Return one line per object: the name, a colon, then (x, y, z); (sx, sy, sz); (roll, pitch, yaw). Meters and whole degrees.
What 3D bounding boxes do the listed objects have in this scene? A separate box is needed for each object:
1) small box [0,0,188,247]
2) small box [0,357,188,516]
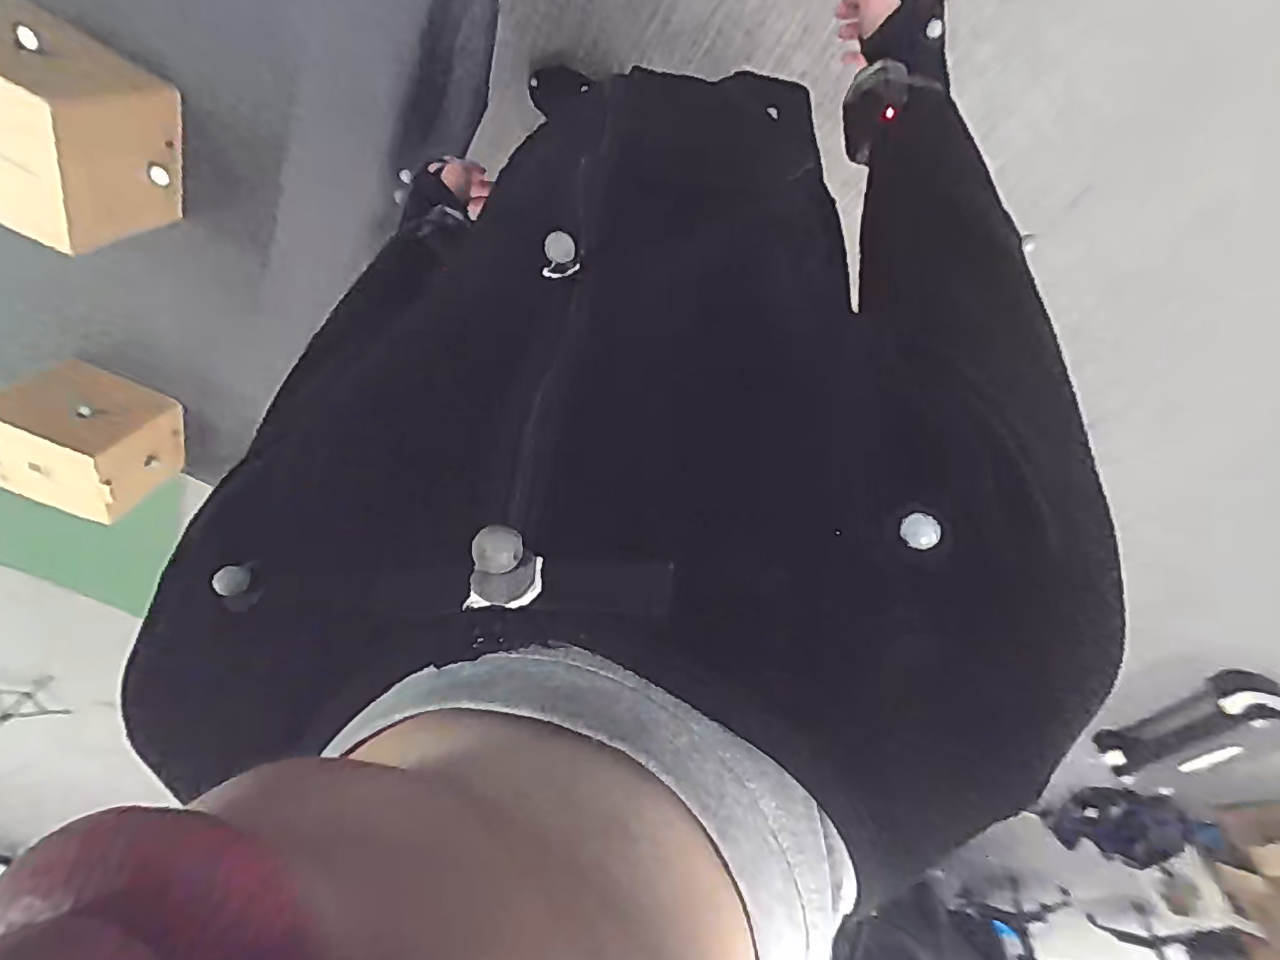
small box: (-0.654, -0.396, 0.597); (0.179, 0.176, 0.168); (26, 128, -14)
small box: (-0.894, -0.076, 0.897); (0.179, 0.176, 0.168); (25, 128, -13)
